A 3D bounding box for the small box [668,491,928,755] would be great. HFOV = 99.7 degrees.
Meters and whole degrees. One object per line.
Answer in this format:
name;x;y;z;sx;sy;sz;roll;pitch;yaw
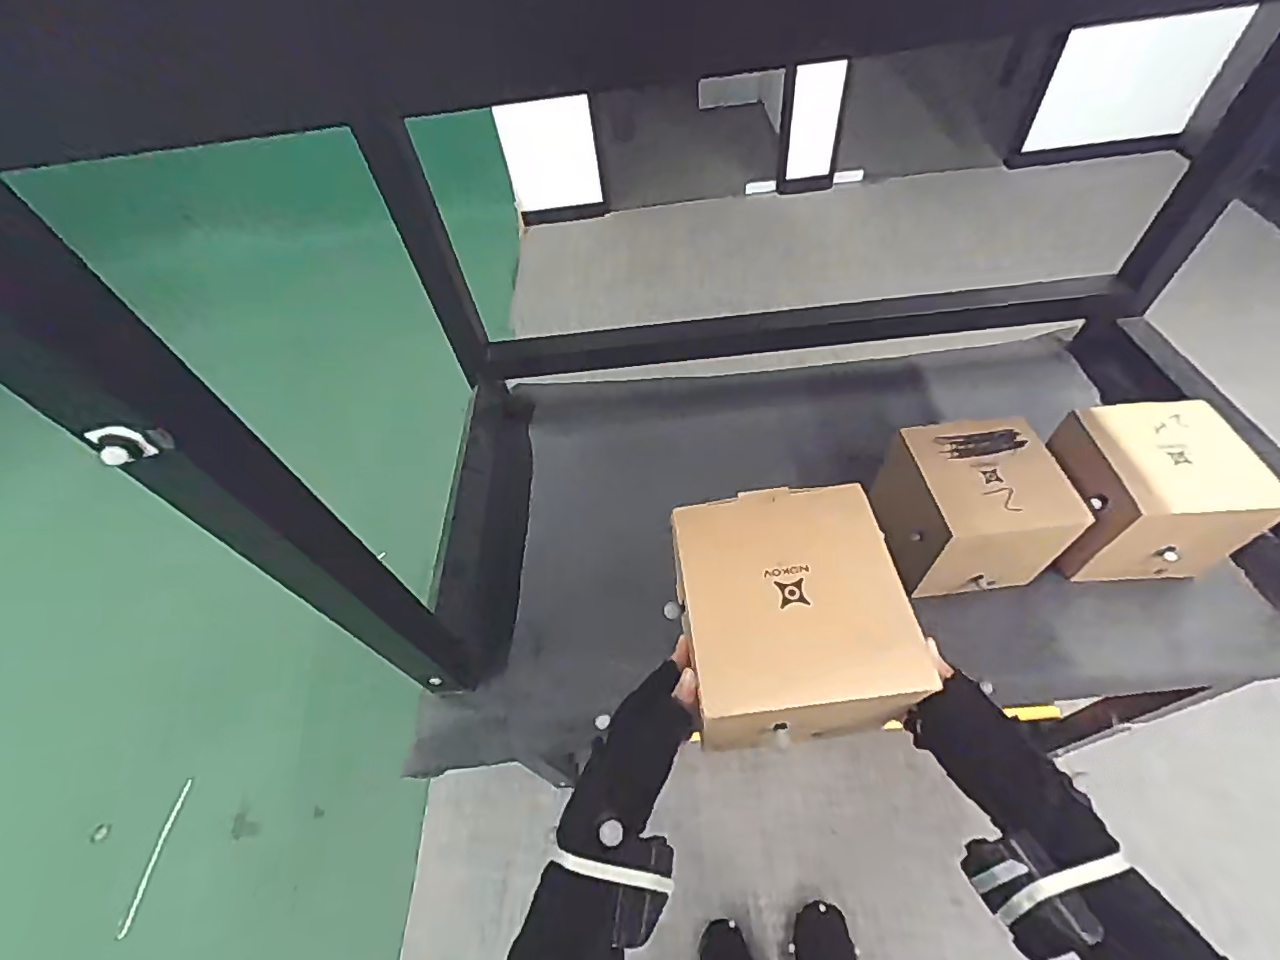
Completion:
small box;0.120;0.136;0.484;0.168;0.176;0.179;-8;53;2
